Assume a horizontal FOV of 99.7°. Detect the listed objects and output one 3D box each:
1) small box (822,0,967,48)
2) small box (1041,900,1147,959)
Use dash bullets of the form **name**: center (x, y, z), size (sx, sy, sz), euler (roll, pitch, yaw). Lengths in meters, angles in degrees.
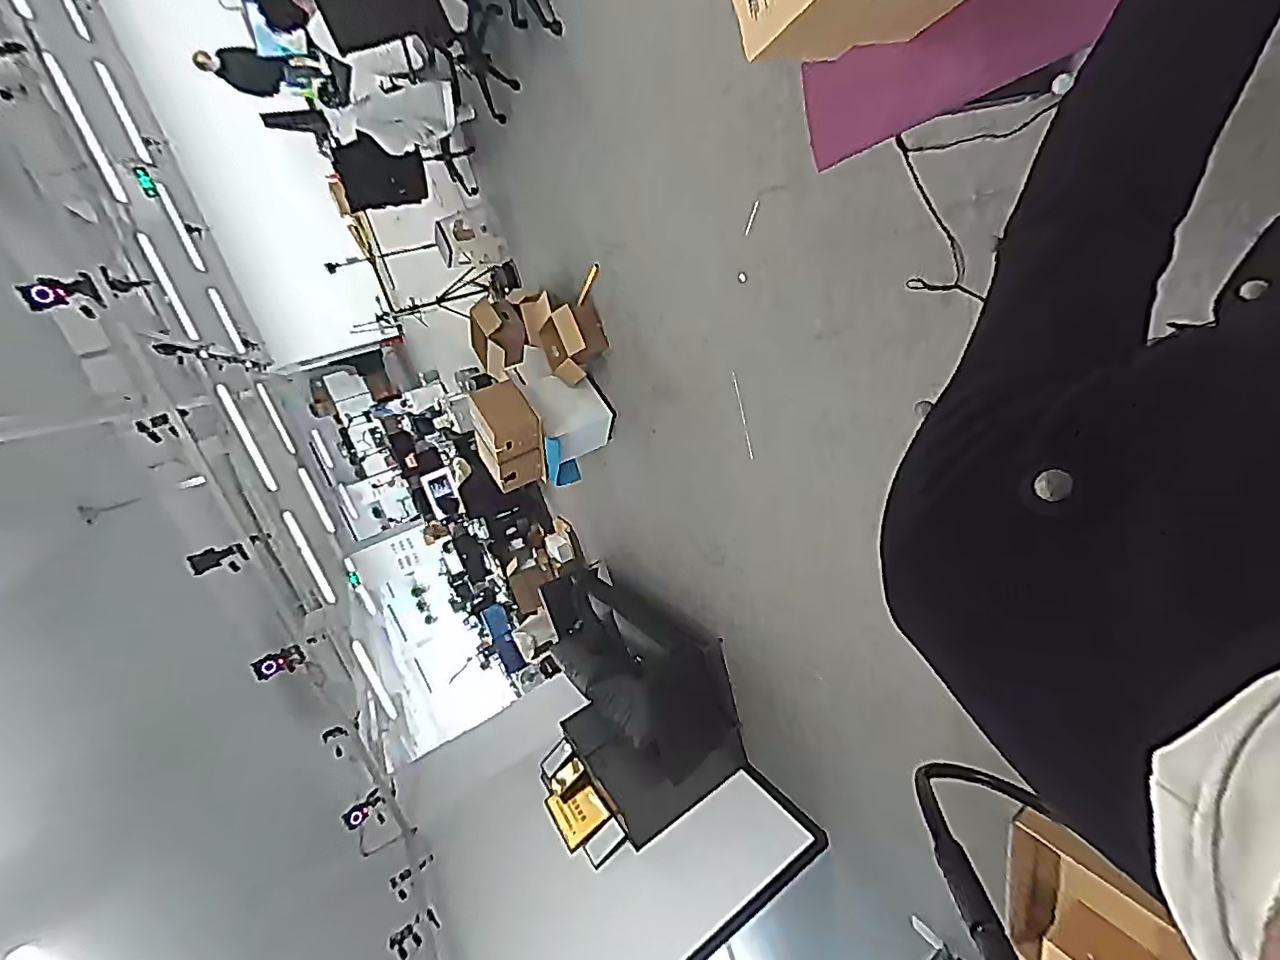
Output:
- **small box**: center (0.351, -0.700, 0.692), size (0.179, 0.176, 0.168), euler (9, 120, 62)
- **small box**: center (1.264, 1.332, 1.512), size (0.179, 0.176, 0.168), euler (21, 131, 57)
